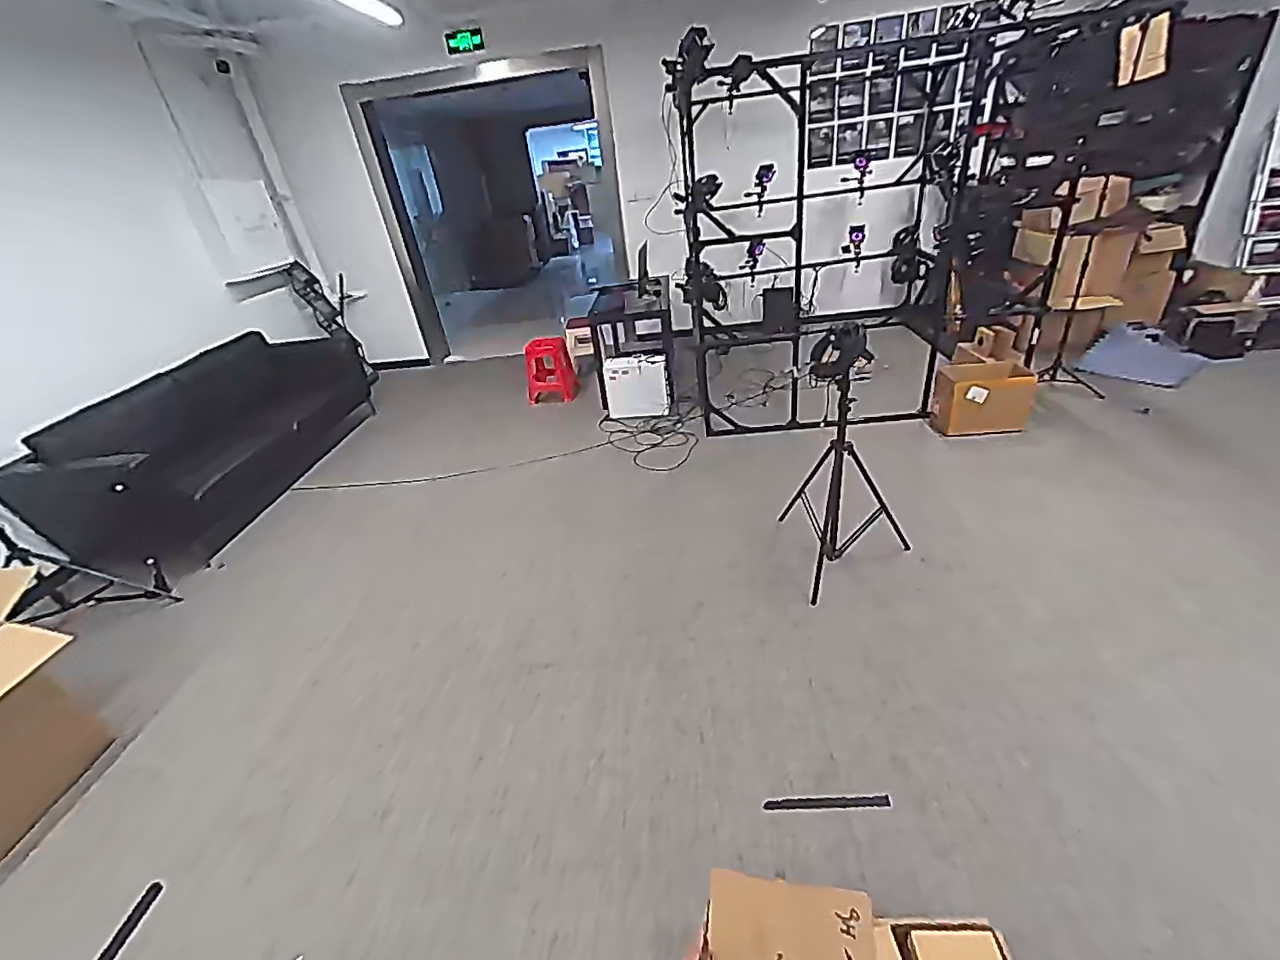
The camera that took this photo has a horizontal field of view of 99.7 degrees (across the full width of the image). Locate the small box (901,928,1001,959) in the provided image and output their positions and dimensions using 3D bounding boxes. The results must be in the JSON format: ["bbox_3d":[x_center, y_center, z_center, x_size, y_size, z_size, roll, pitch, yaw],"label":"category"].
[{"bbox_3d":[0.654,1.057,1.106,0.168,0.176,0.179,-5,33,7],"label":"small box"}]

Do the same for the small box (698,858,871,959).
[{"bbox_3d":[0.158,0.550,0.616,0.179,0.176,0.168,3,53,11],"label":"small box"}]
